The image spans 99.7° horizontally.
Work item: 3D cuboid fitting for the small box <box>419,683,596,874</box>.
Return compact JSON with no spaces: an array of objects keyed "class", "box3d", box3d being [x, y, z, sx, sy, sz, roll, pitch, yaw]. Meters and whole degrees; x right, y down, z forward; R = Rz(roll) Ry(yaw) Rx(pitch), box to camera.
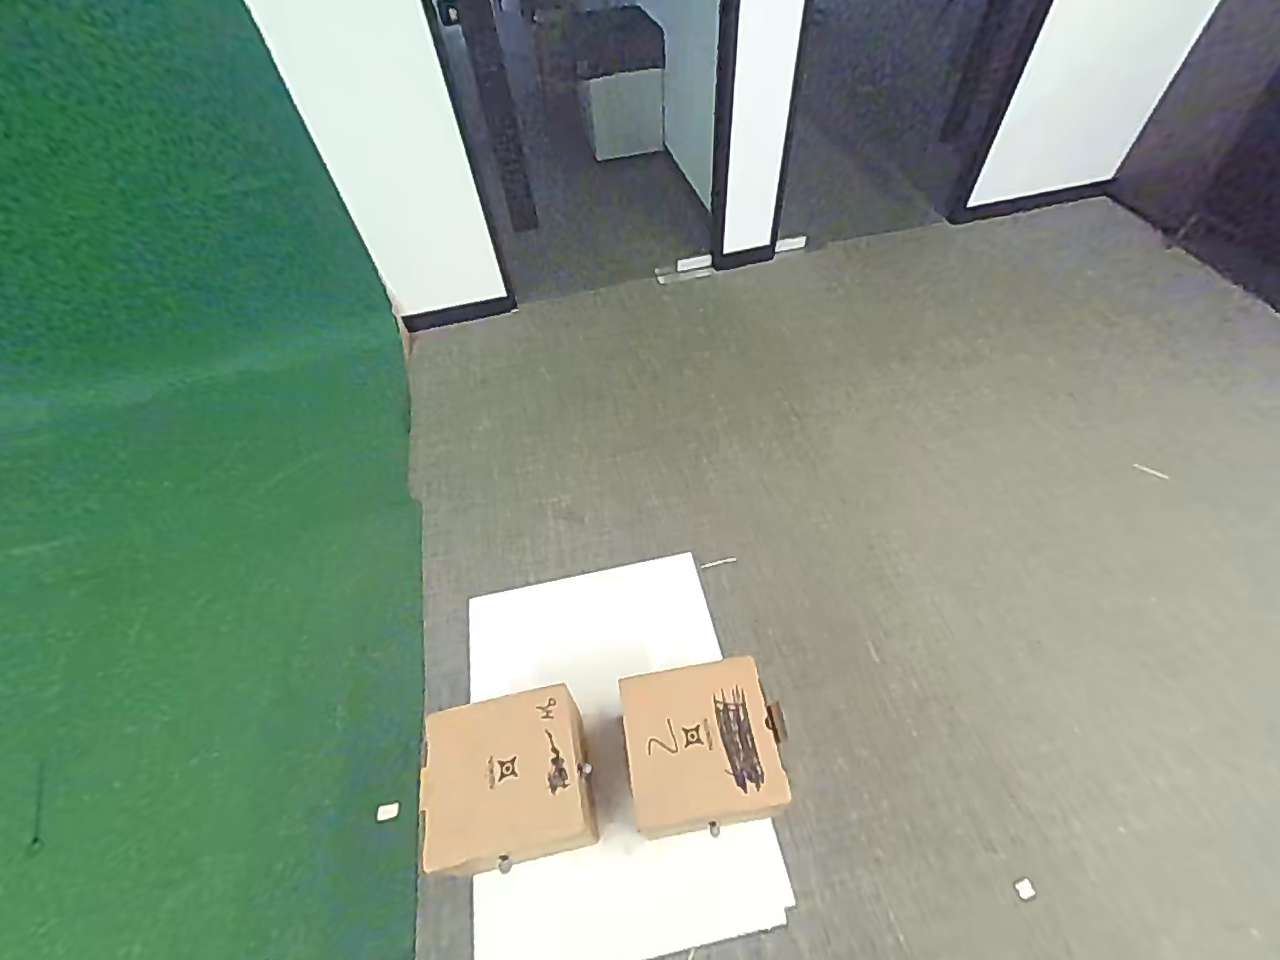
[{"class":"small box","box3d":[-0.160,0.383,0.688,0.179,0.176,0.168,-11,53,-6]}]
